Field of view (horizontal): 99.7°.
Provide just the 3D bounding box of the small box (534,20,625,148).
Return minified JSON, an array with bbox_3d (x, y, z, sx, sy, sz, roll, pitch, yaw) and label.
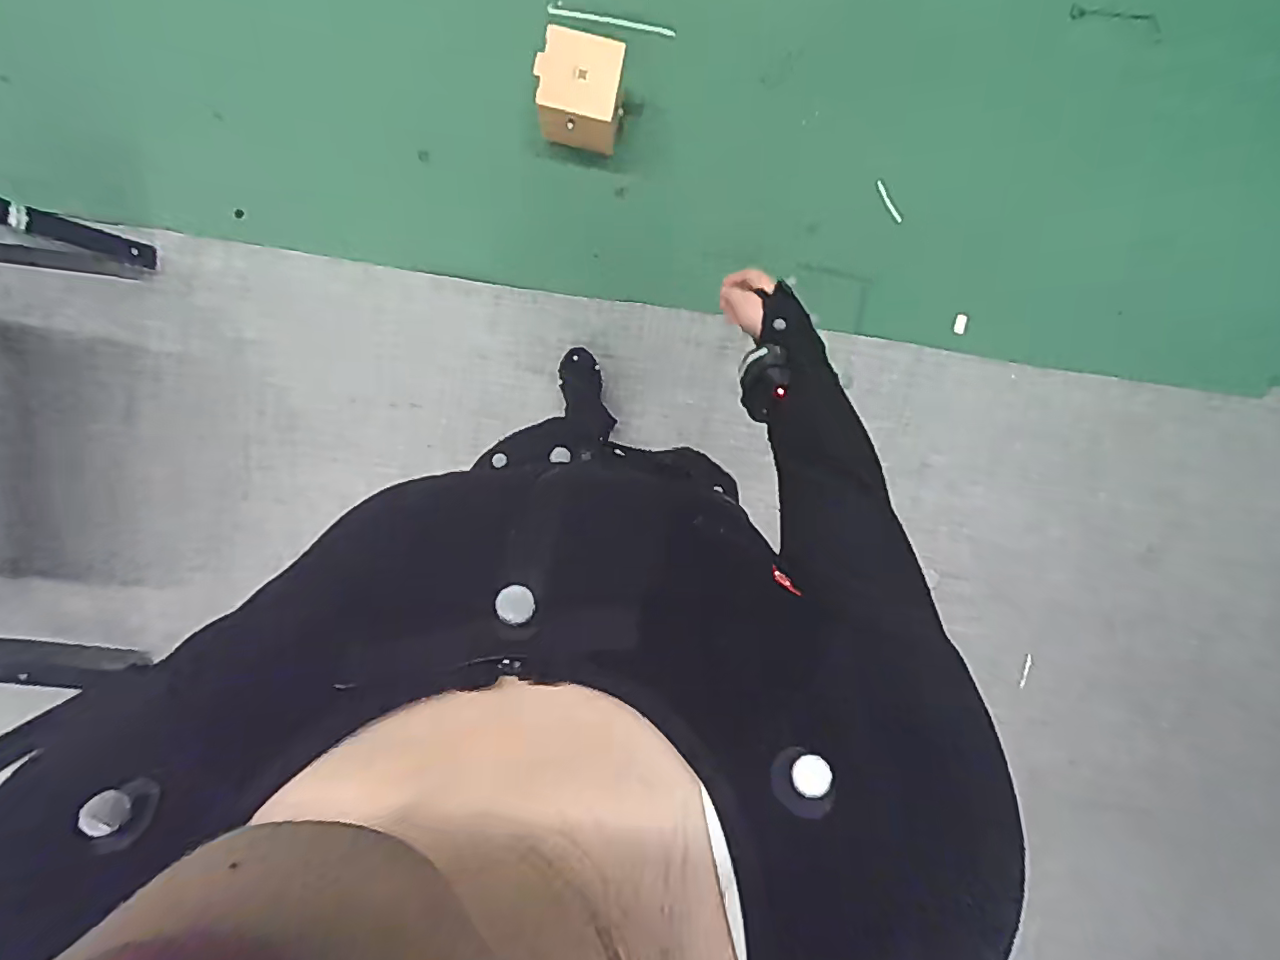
[{"bbox_3d":[-0.135,-0.905,1.255,0.179,0.176,0.168,11,98,-4],"label":"small box"}]
